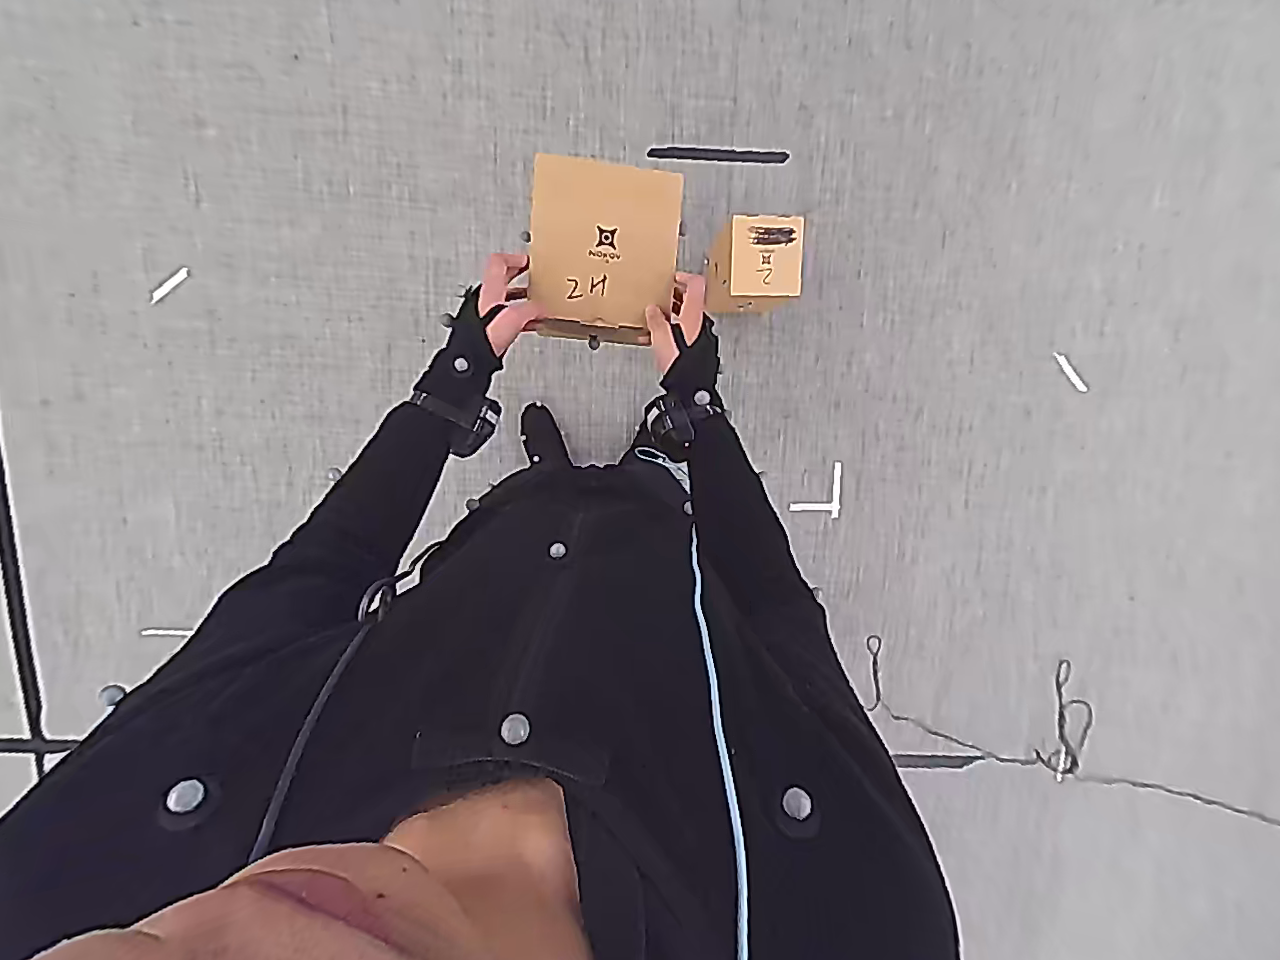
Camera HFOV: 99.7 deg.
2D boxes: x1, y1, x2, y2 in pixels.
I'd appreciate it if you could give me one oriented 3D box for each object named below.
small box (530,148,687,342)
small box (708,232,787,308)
[{"bbox_3d":[-0.045,-0.280,0.684,0.168,0.176,0.179,4,98,-7],"label":"small box"},{"bbox_3d":[0.284,-0.565,1.472,0.179,0.176,0.168,0,100,-4],"label":"small box"}]
